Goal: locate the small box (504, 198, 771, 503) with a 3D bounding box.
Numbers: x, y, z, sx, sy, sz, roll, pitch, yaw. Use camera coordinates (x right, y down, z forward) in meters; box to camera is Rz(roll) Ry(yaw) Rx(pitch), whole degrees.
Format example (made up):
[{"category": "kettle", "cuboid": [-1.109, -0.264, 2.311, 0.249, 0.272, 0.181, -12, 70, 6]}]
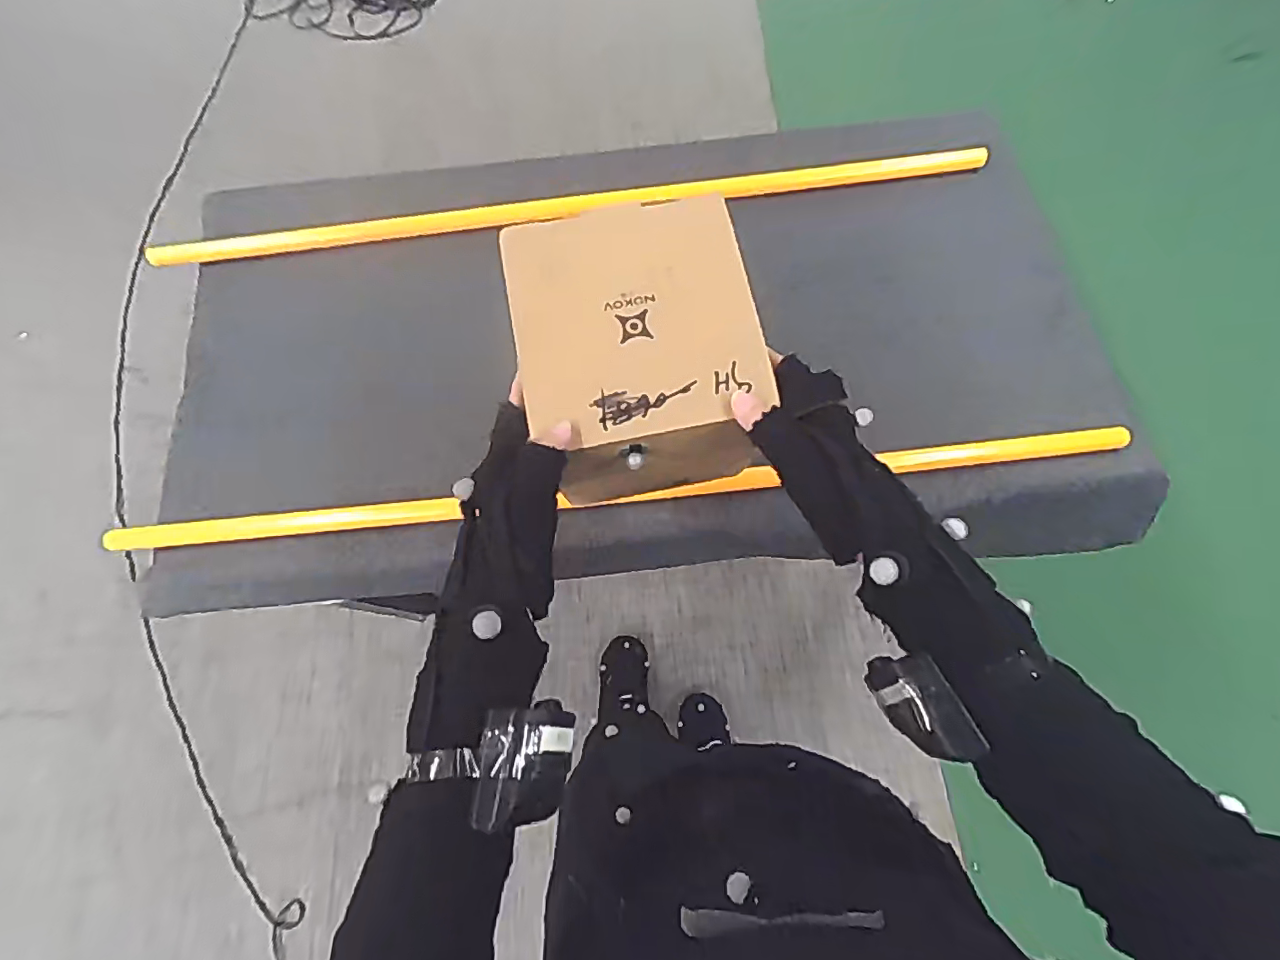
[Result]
[{"category": "small box", "cuboid": [-0.005, -0.094, 0.456, 0.168, 0.176, 0.179, -11, 75, -1]}]
